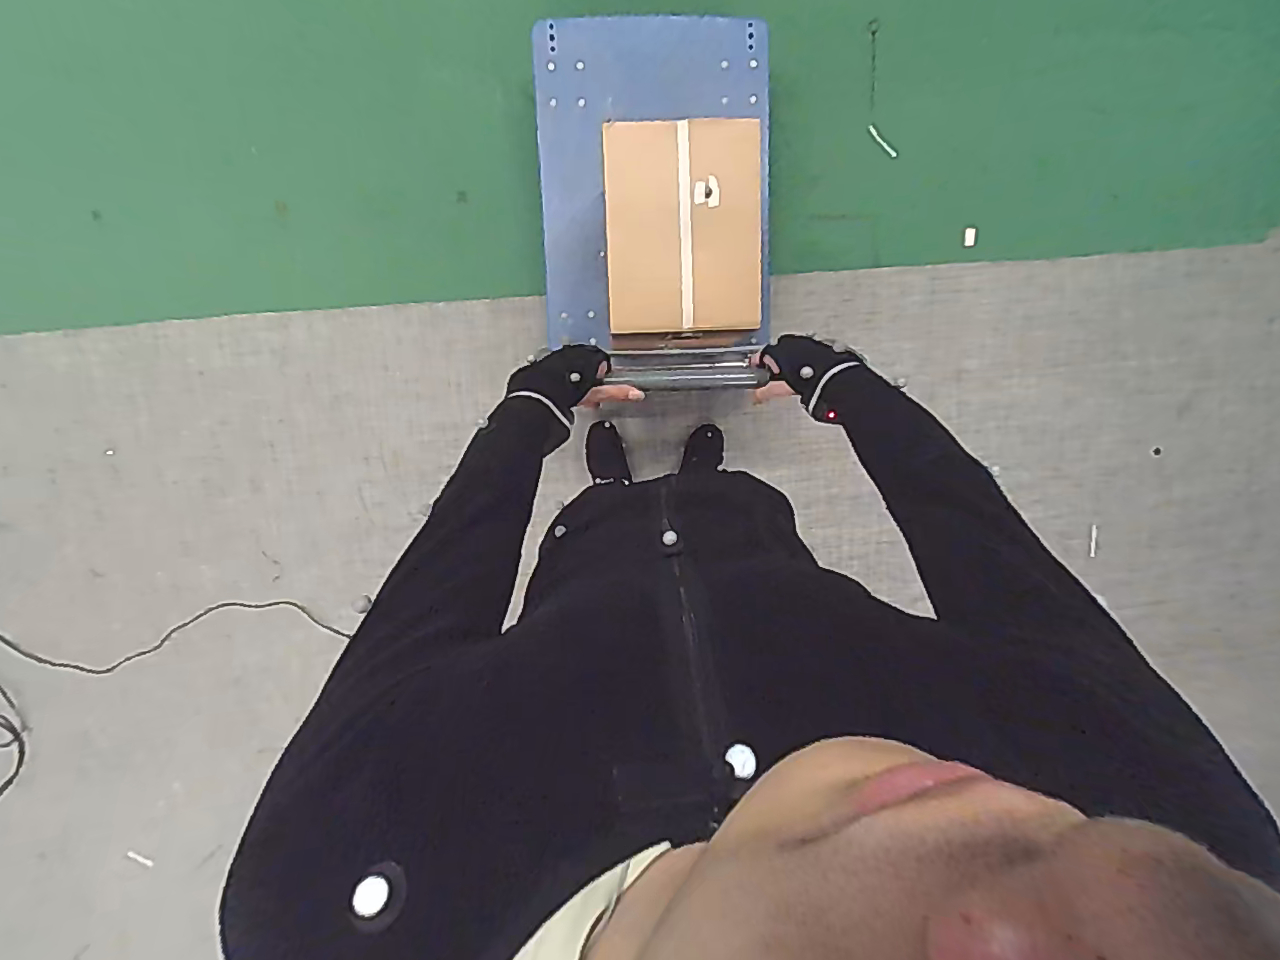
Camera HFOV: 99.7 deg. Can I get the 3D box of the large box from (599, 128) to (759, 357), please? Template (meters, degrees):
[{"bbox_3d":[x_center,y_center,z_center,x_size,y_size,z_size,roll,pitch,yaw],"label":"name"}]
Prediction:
[{"bbox_3d":[0.078,-0.510,1.238,0.320,0.320,0.408,-3,97,-3],"label":"large box"}]
